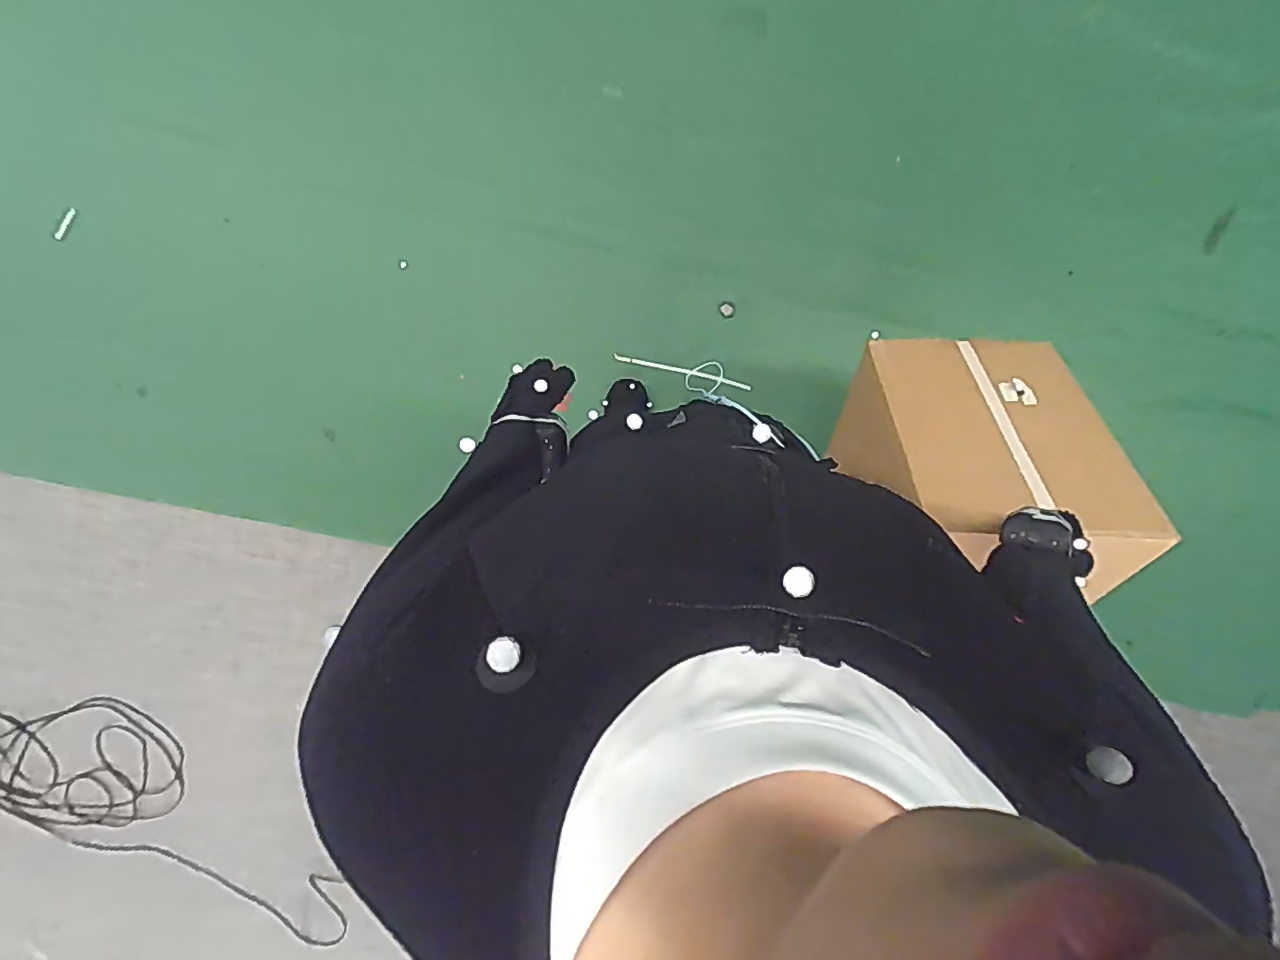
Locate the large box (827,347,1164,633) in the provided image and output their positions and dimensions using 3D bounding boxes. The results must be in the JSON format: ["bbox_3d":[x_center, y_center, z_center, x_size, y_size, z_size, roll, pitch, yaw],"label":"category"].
[{"bbox_3d":[0.545,0.018,0.947,0.320,0.408,0.320,2,140,3],"label":"large box"}]
